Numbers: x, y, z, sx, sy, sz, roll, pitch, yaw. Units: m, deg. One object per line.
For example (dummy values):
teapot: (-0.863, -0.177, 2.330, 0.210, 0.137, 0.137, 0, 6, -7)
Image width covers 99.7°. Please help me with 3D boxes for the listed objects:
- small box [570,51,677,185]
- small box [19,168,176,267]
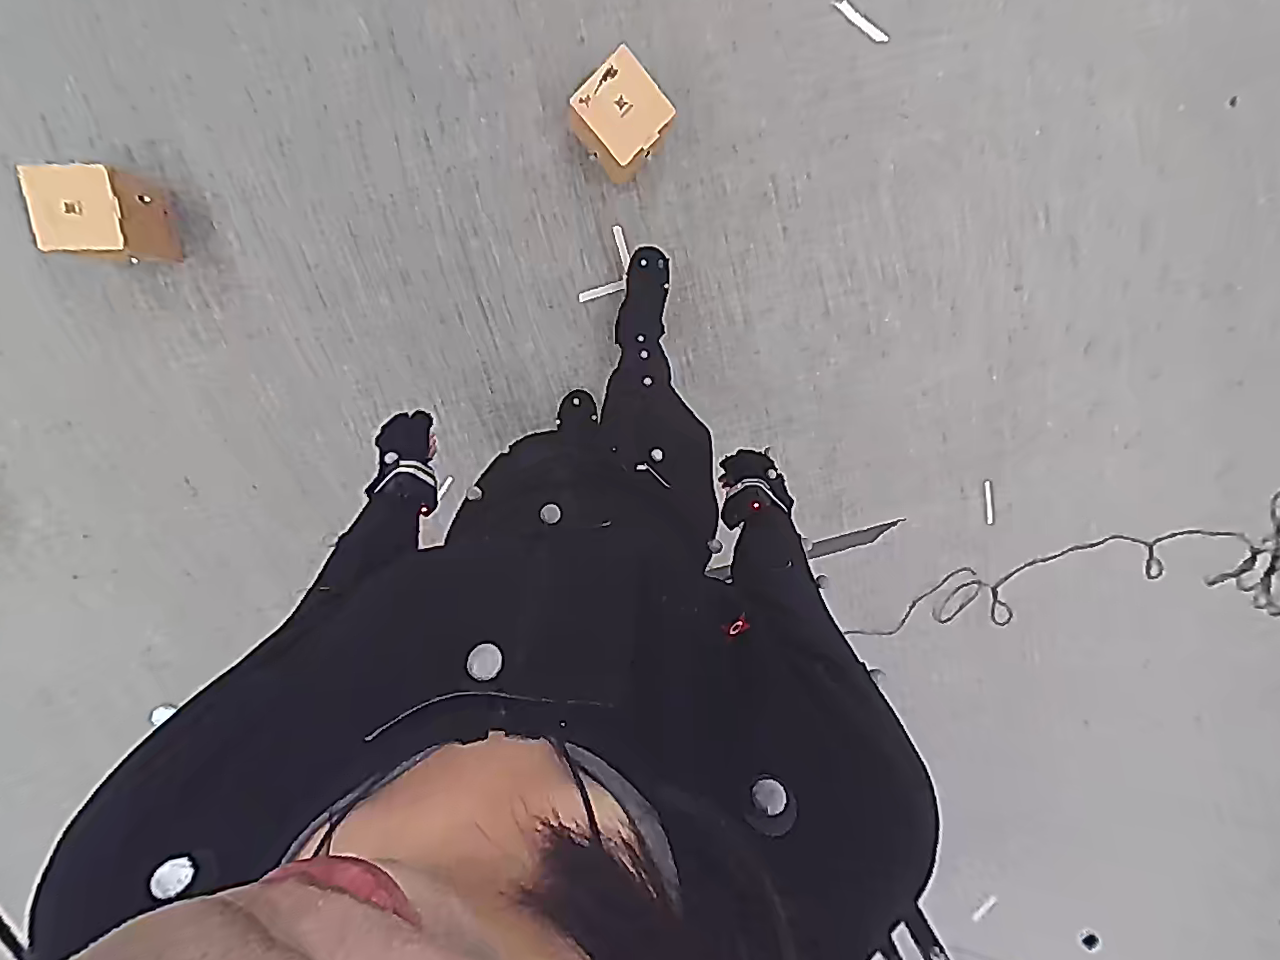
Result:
small box: (-0.040, -0.809, 1.238, 0.168, 0.176, 0.179, -42, 104, 6)
small box: (-1.177, -0.573, 1.195, 0.179, 0.176, 0.168, -3, 102, -4)
